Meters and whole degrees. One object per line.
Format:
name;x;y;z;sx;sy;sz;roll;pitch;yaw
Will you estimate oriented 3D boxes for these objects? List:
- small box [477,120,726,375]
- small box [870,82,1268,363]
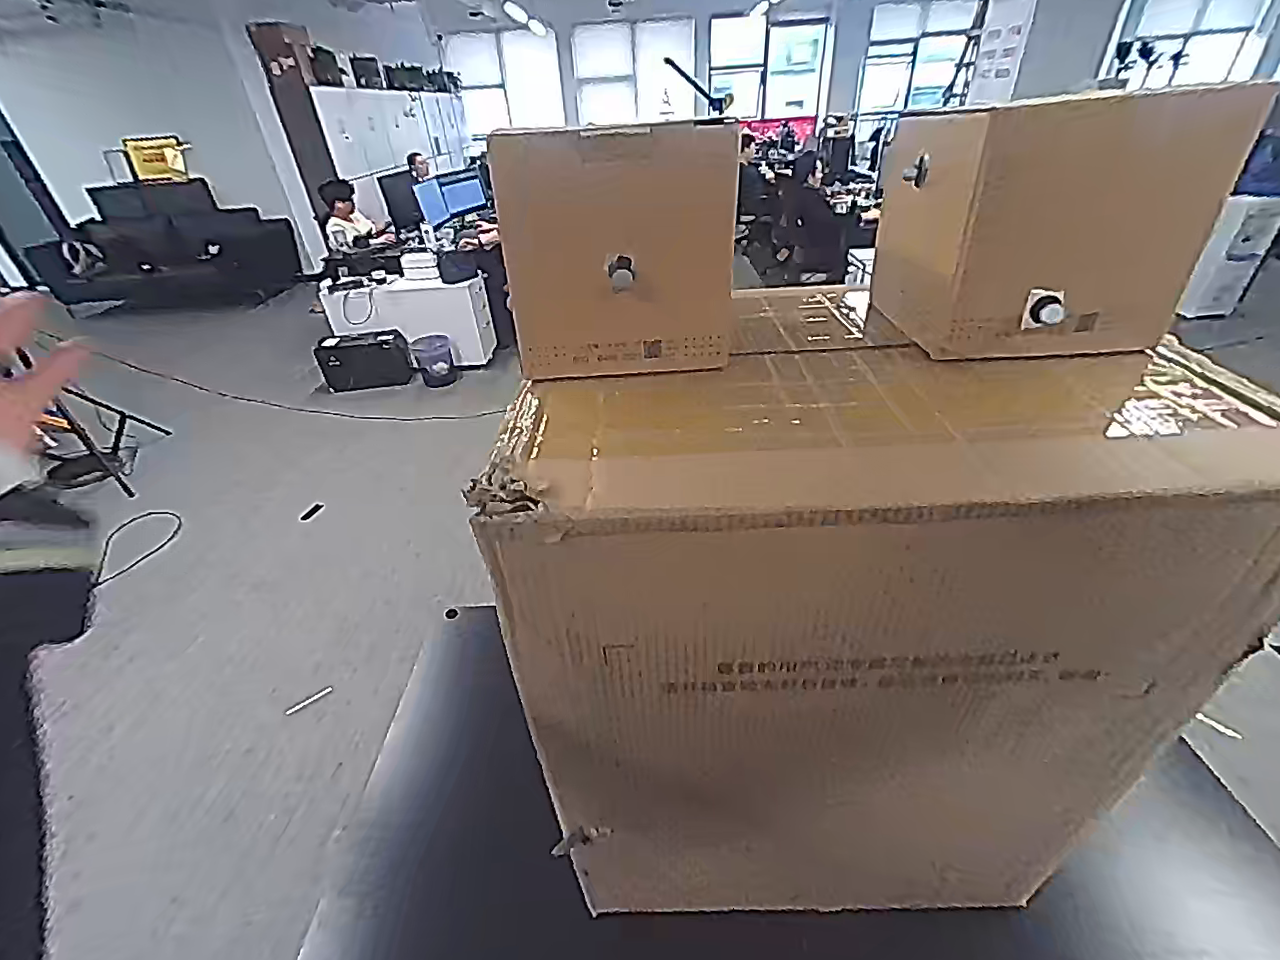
small box;-0.025;-0.195;0.457;0.168;0.176;0.179;-5;34;-2
small box;0.302;-0.207;0.439;0.168;0.176;0.179;-4;34;5
